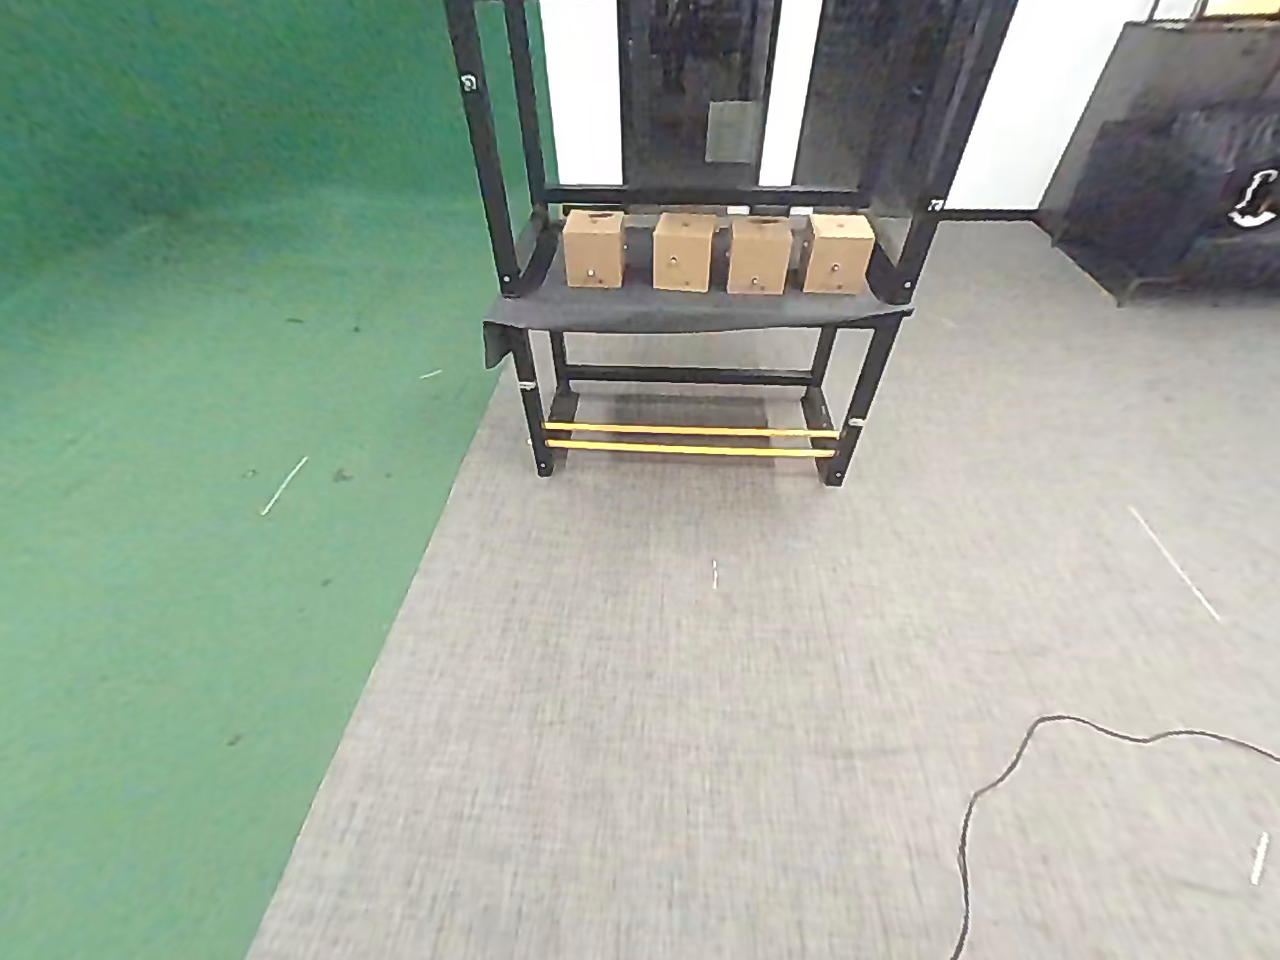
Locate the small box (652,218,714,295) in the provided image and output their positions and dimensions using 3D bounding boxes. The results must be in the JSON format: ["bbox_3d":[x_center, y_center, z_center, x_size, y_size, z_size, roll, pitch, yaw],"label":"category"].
[{"bbox_3d":[0.132,-0.678,1.643,0.168,0.176,0.179,6,45,7],"label":"small box"}]

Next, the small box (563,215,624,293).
[{"bbox_3d":[-0.137,-0.696,1.662,0.168,0.176,0.179,2,46,3],"label":"small box"}]

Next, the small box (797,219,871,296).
[{"bbox_3d":[0.572,-0.665,1.617,0.168,0.176,0.179,4,44,5],"label":"small box"}]
